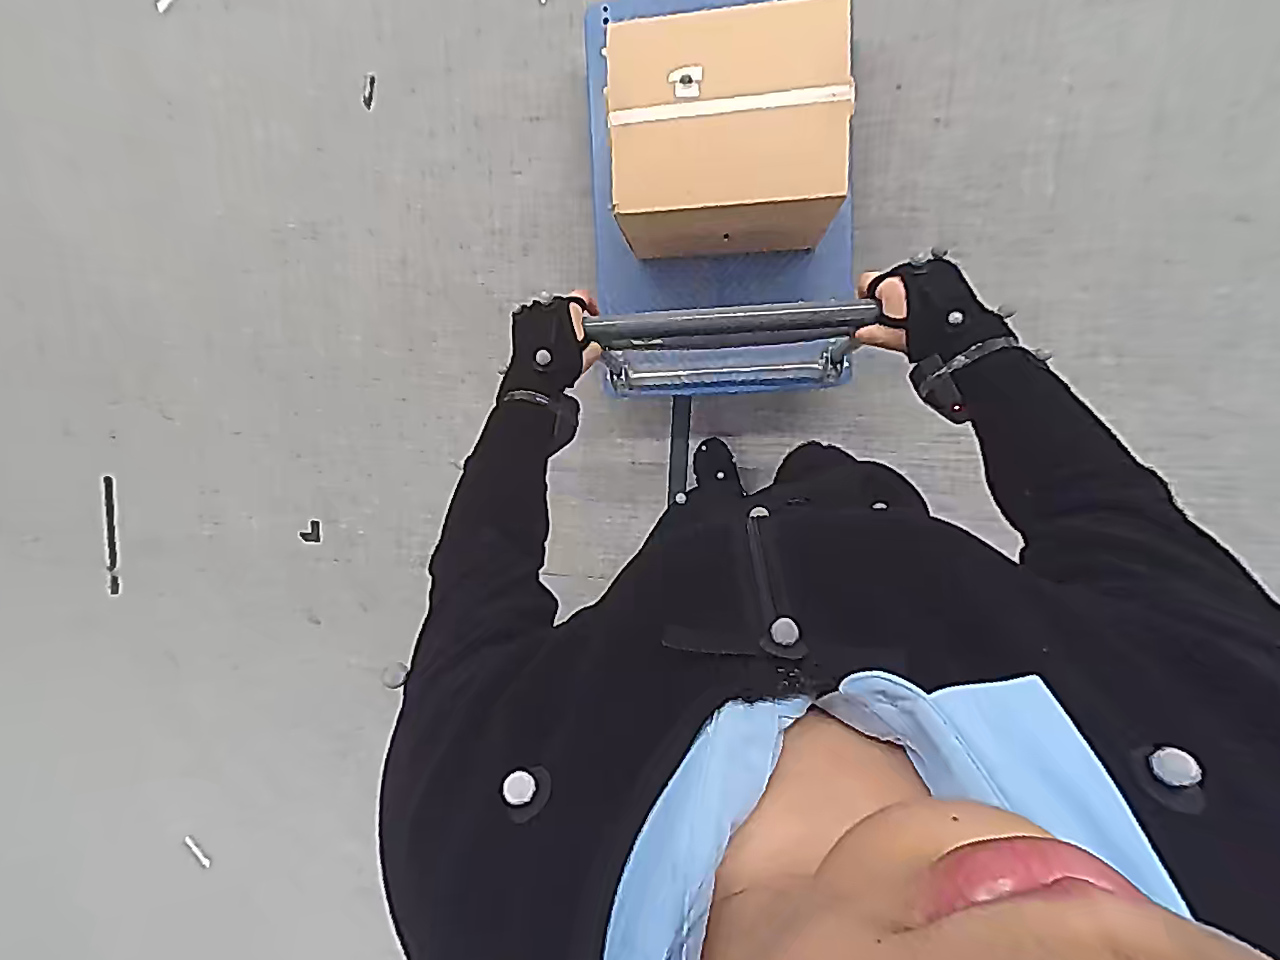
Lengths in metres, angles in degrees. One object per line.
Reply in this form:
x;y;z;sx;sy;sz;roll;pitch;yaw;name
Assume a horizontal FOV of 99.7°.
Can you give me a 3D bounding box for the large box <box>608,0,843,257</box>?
0.170;-0.659;1.085;0.408;0.320;0.320;-1;96;9;large box
